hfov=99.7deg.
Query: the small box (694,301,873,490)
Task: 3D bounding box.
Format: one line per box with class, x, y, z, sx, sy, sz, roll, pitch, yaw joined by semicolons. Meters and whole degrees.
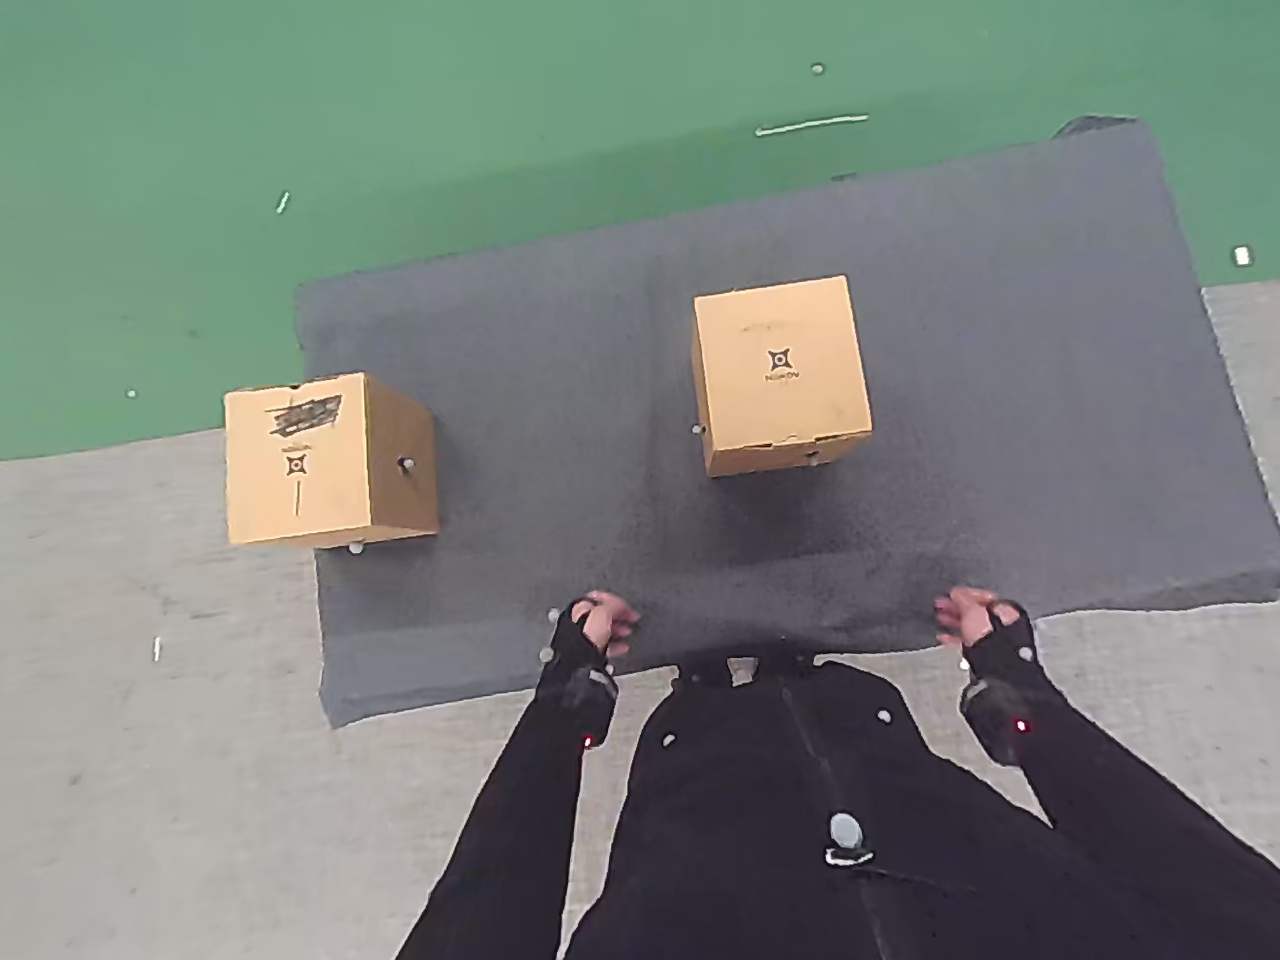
small box;0.159;-0.088;0.660;0.168;0.176;0.179;-8;79;2
